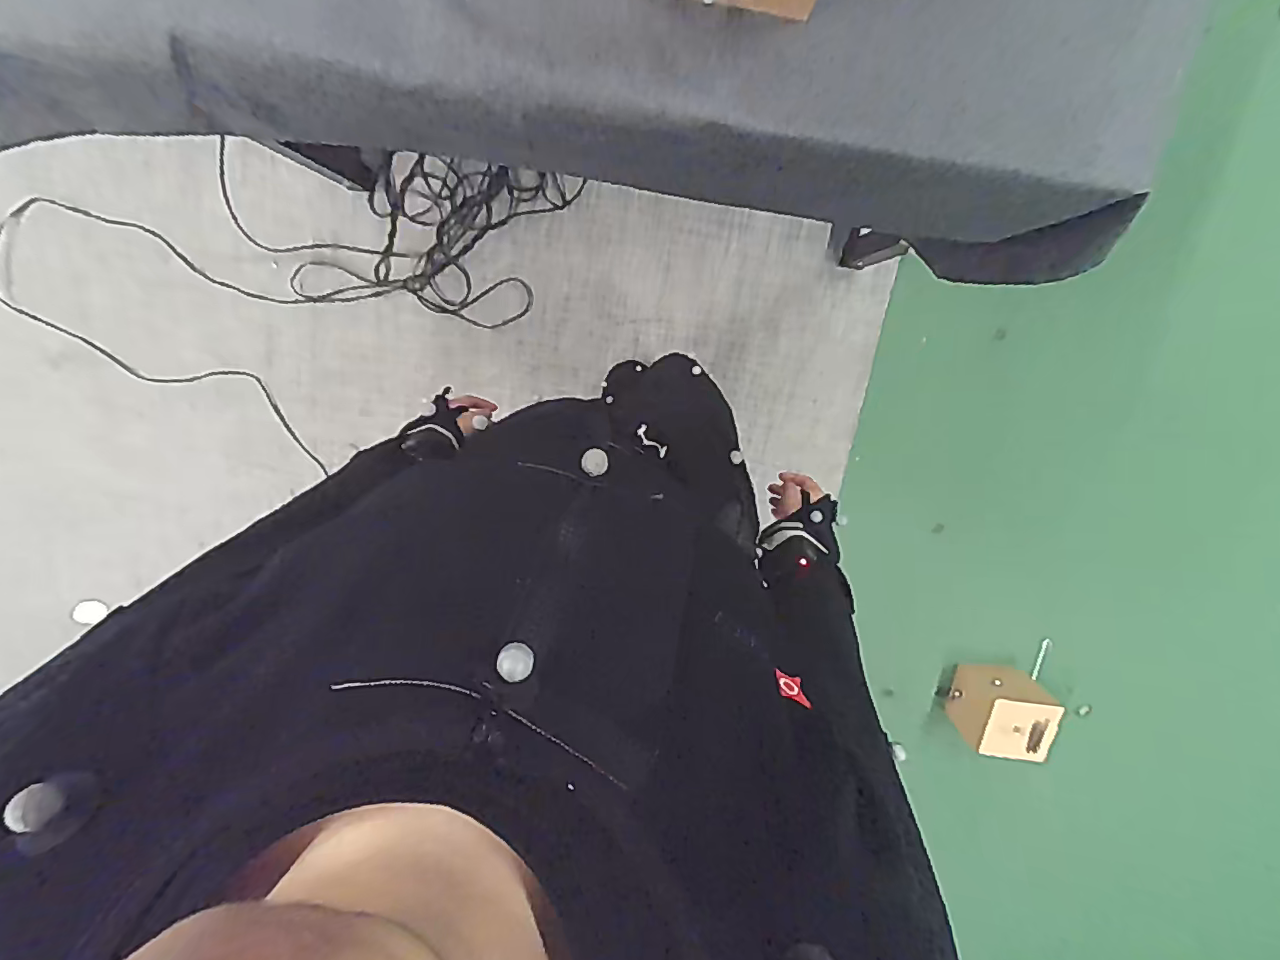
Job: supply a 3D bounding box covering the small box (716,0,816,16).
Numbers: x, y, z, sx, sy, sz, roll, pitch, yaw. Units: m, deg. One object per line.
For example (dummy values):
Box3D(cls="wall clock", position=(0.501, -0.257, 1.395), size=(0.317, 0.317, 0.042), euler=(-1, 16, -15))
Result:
Box3D(cls="small box", position=(0.091, -0.503, 0.399), size=(0.168, 0.176, 0.179), euler=(9, 105, -1))
